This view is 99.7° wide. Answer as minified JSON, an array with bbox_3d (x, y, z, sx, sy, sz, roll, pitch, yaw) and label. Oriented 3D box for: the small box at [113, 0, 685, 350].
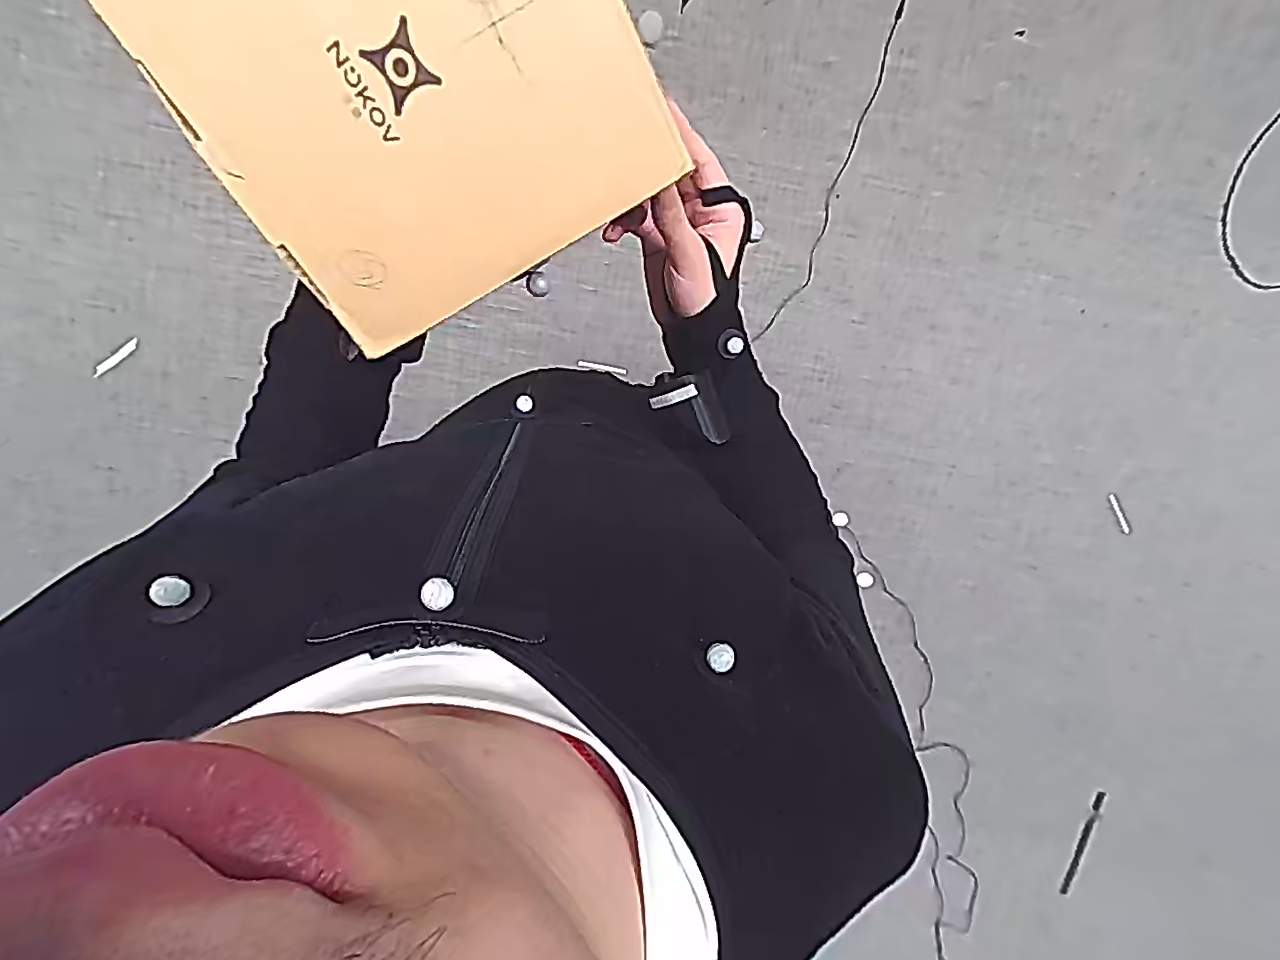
[{"bbox_3d":[-0.088,-0.198,0.287,0.179,0.176,0.168,-25,116,15],"label":"small box"}]
